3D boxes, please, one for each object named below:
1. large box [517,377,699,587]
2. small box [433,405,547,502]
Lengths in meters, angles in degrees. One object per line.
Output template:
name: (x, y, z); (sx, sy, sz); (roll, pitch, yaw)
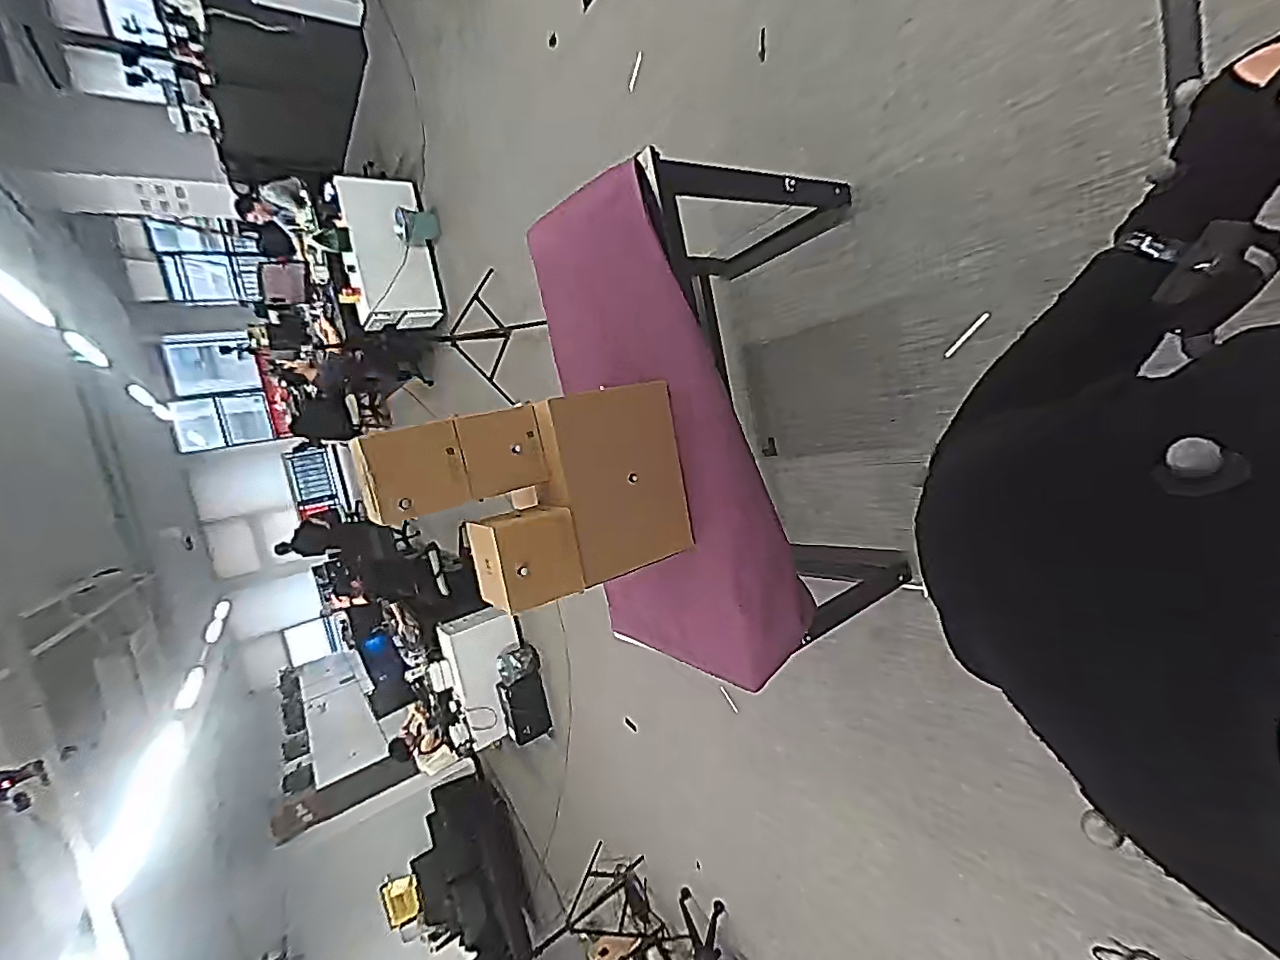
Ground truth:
large box: (-0.099, -0.005, 1.297); (0.320, 0.320, 0.408); (0, 105, 57)
small box: (-0.318, -0.058, 1.147); (0.179, 0.176, 0.168); (0, 105, 56)
